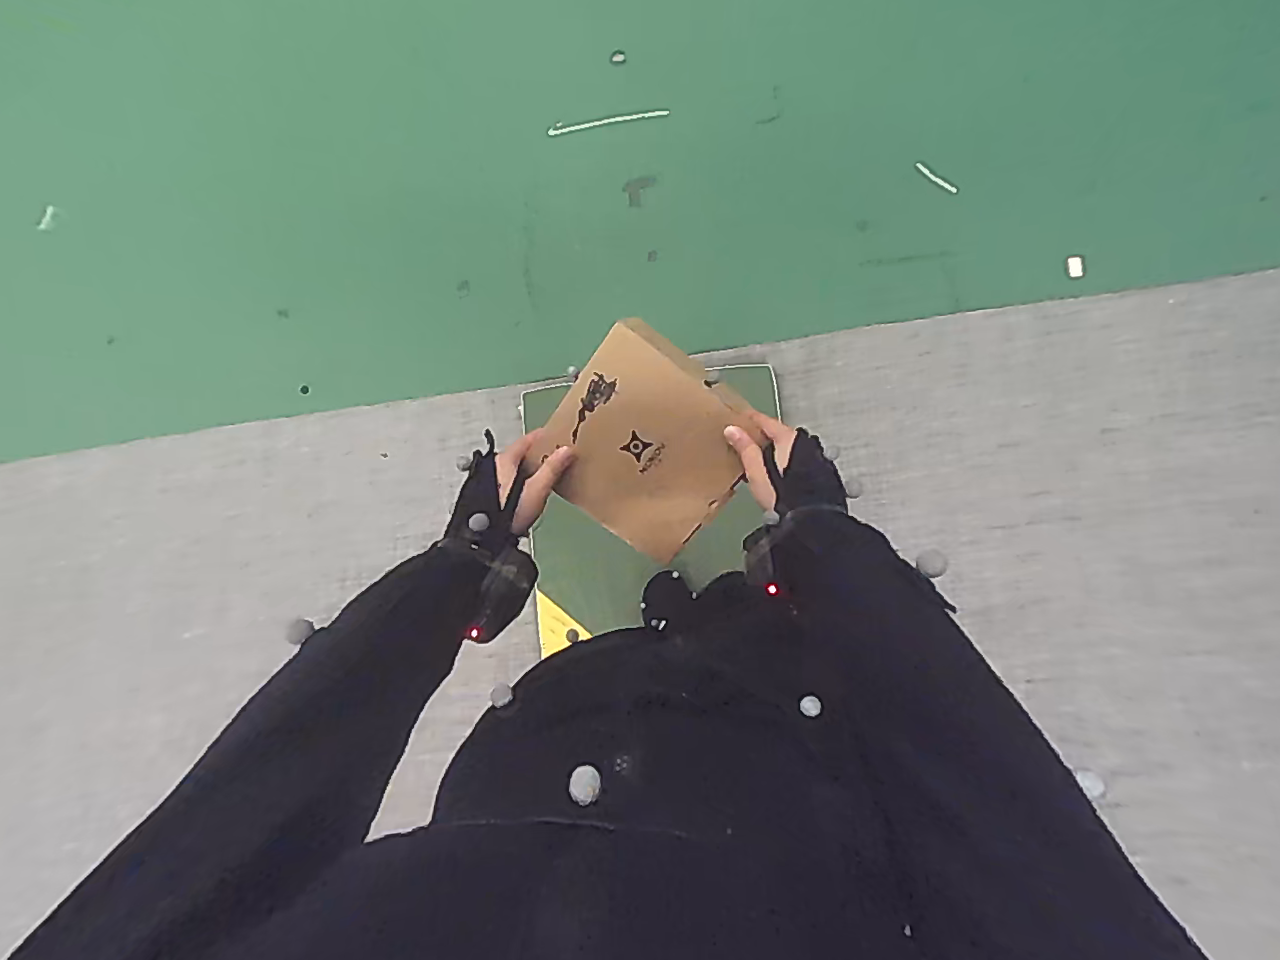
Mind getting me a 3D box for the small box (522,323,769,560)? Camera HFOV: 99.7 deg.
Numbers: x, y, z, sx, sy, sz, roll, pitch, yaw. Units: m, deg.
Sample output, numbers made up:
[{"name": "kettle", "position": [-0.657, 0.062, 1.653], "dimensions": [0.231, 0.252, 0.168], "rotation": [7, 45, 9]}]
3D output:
[{"name": "small box", "position": [0.008, -0.054, 0.577], "dimensions": [0.179, 0.176, 0.168], "rotation": [36, 107, -8]}]
